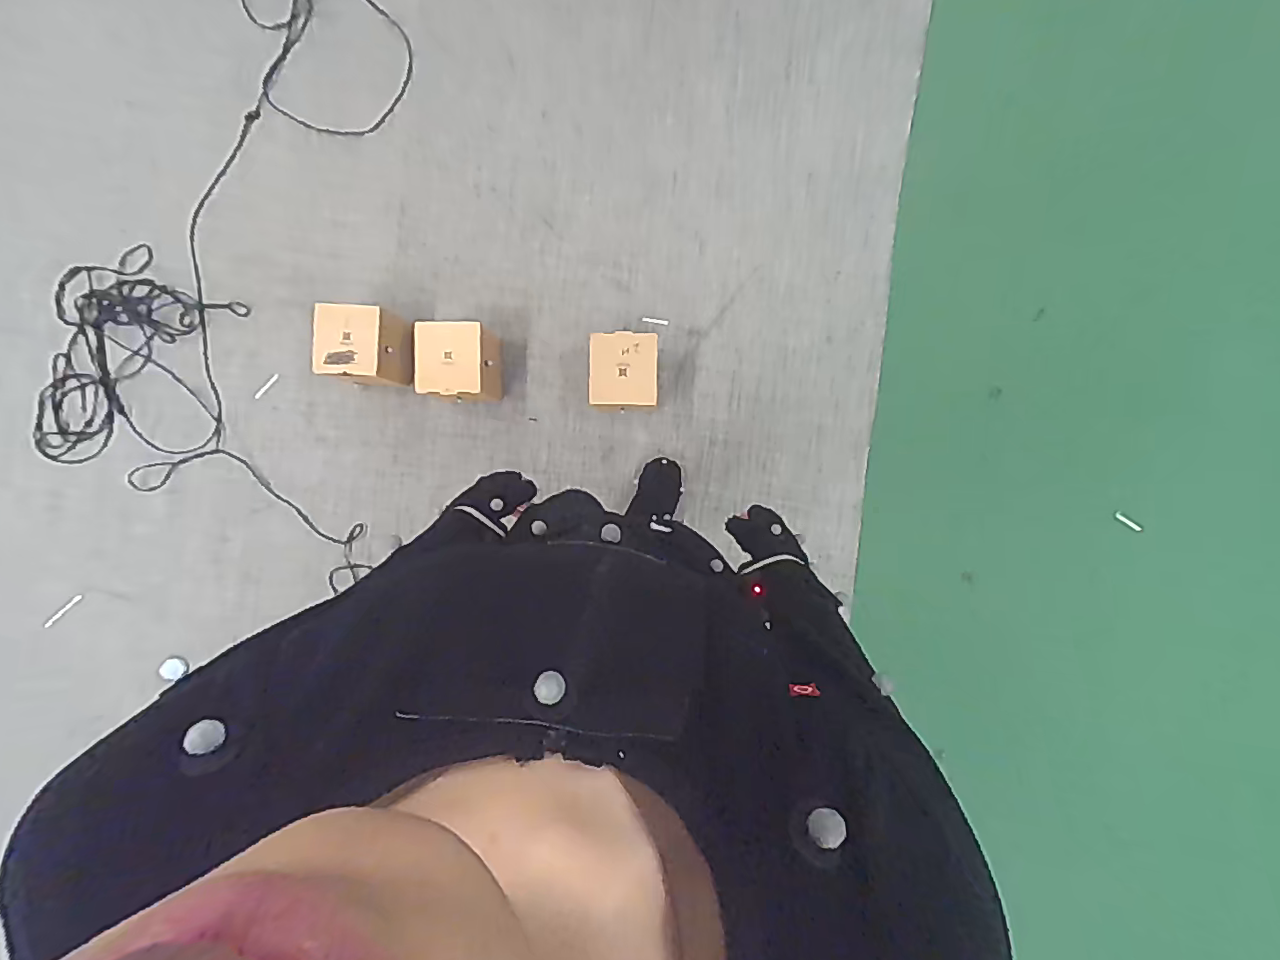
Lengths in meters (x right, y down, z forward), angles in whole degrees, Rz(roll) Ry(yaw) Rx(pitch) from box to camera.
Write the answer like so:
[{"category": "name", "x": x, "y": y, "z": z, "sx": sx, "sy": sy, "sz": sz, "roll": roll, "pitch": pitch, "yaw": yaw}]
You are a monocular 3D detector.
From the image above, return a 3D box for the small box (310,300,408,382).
[{"category": "small box", "x": -0.718, "y": -0.351, "z": 1.395, "sx": 0.168, "sy": 0.176, "sz": 0.179, "roll": 3, "pitch": 92, "yaw": 2}]

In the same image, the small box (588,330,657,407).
[{"category": "small box", "x": -0.041, "y": -0.277, "z": 1.377, "sx": 0.168, "sy": 0.176, "sz": 0.179, "roll": 1, "pitch": 93, "yaw": 1}]

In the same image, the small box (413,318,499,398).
[{"category": "small box", "x": -0.466, "y": -0.308, "z": 1.390, "sx": 0.168, "sy": 0.176, "sz": 0.179, "roll": 0, "pitch": 94, "yaw": 2}]
